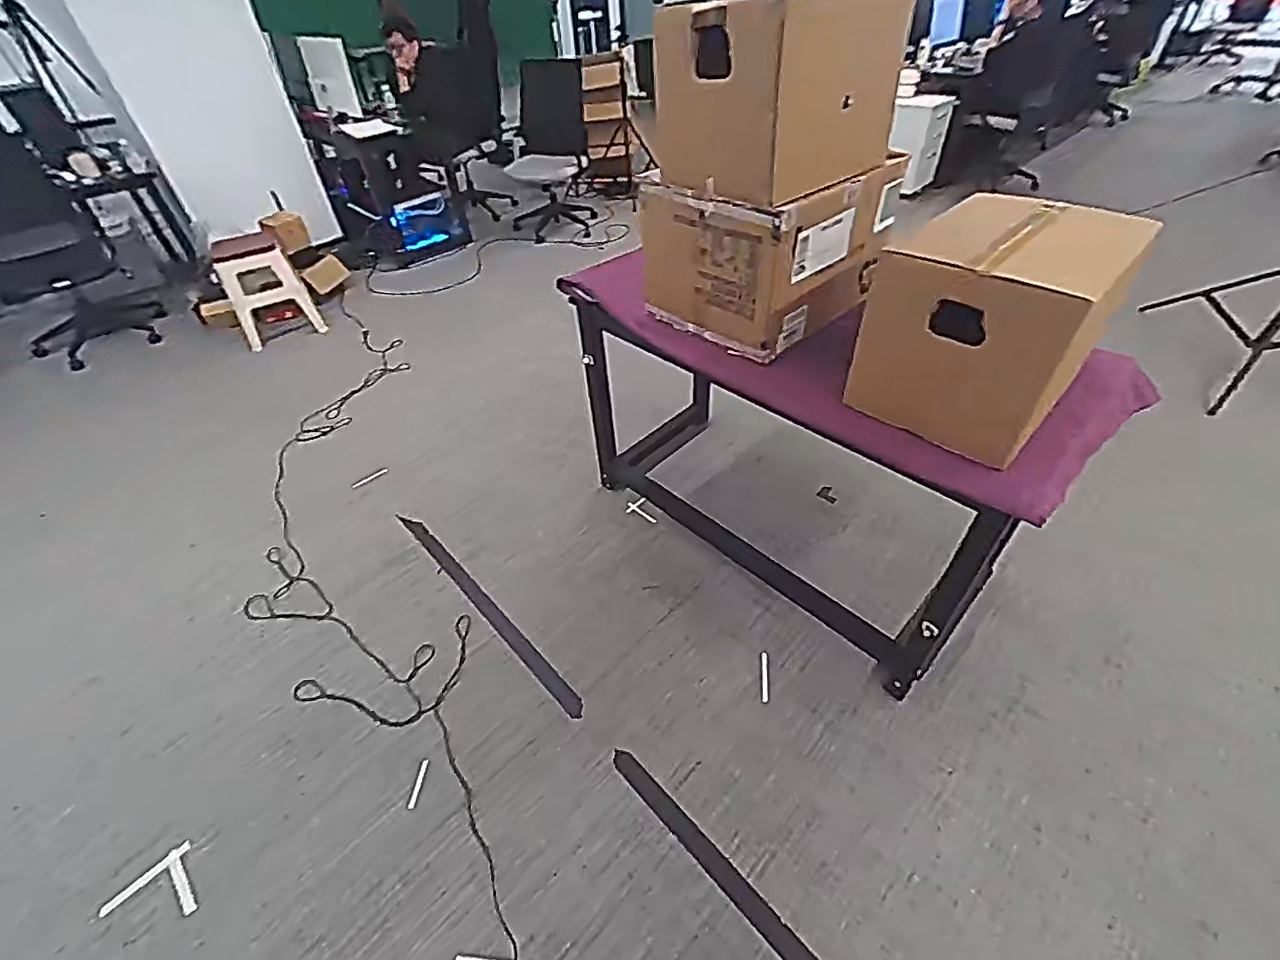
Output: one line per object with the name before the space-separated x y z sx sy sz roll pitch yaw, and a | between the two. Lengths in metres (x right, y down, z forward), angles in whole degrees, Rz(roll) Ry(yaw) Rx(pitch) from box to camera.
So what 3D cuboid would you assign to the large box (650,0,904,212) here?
large box | 0.275 -0.783 1.109 0.408 0.320 0.320 -34 47 -27
